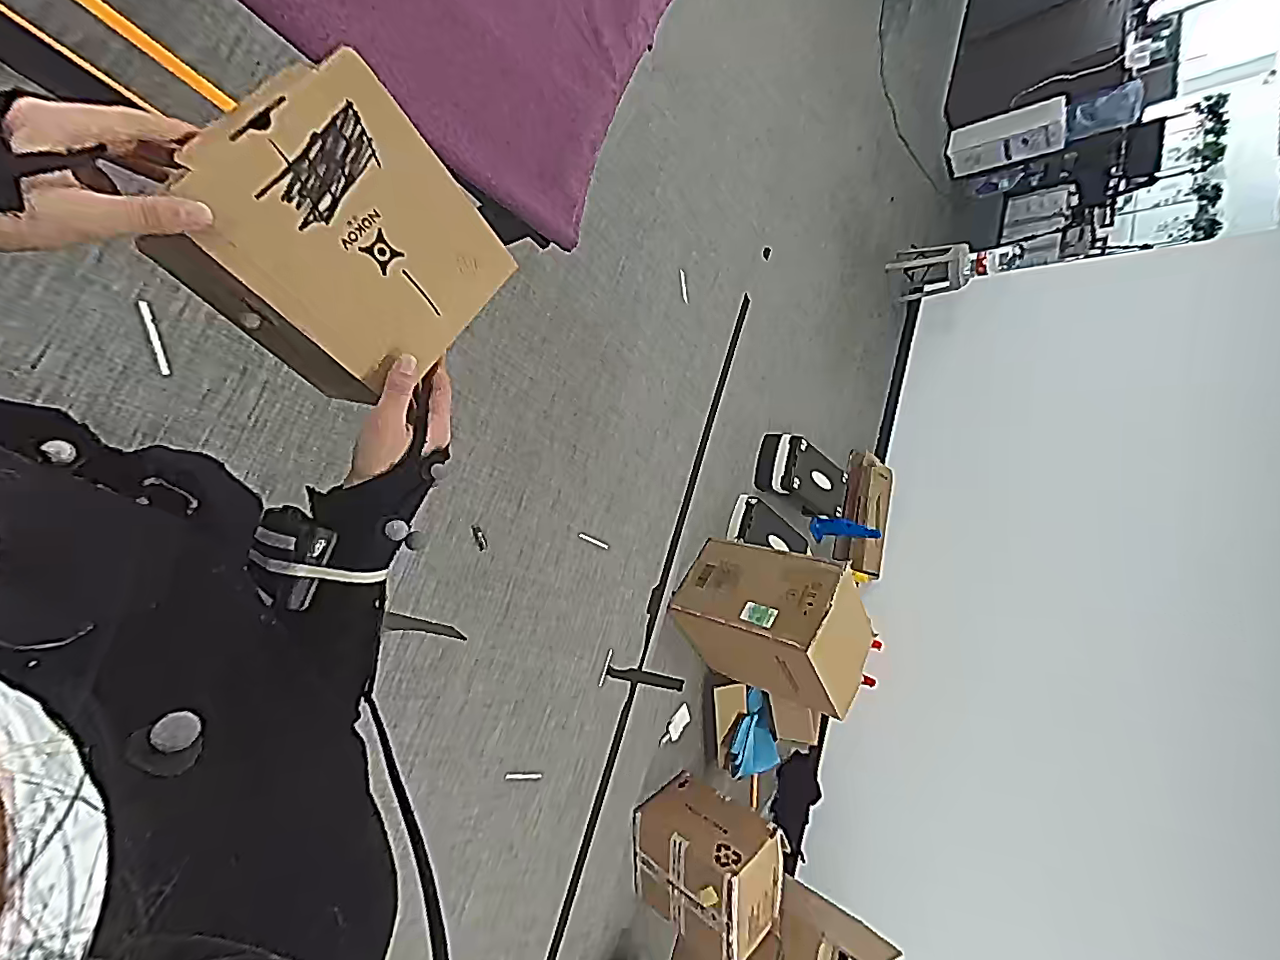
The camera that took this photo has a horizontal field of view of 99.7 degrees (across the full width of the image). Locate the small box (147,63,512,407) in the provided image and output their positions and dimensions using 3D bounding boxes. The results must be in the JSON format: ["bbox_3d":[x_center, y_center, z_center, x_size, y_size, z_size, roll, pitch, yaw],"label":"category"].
[{"bbox_3d":[-0.250,-0.180,0.443,0.168,0.176,0.179,-57,134,-20],"label":"small box"}]
